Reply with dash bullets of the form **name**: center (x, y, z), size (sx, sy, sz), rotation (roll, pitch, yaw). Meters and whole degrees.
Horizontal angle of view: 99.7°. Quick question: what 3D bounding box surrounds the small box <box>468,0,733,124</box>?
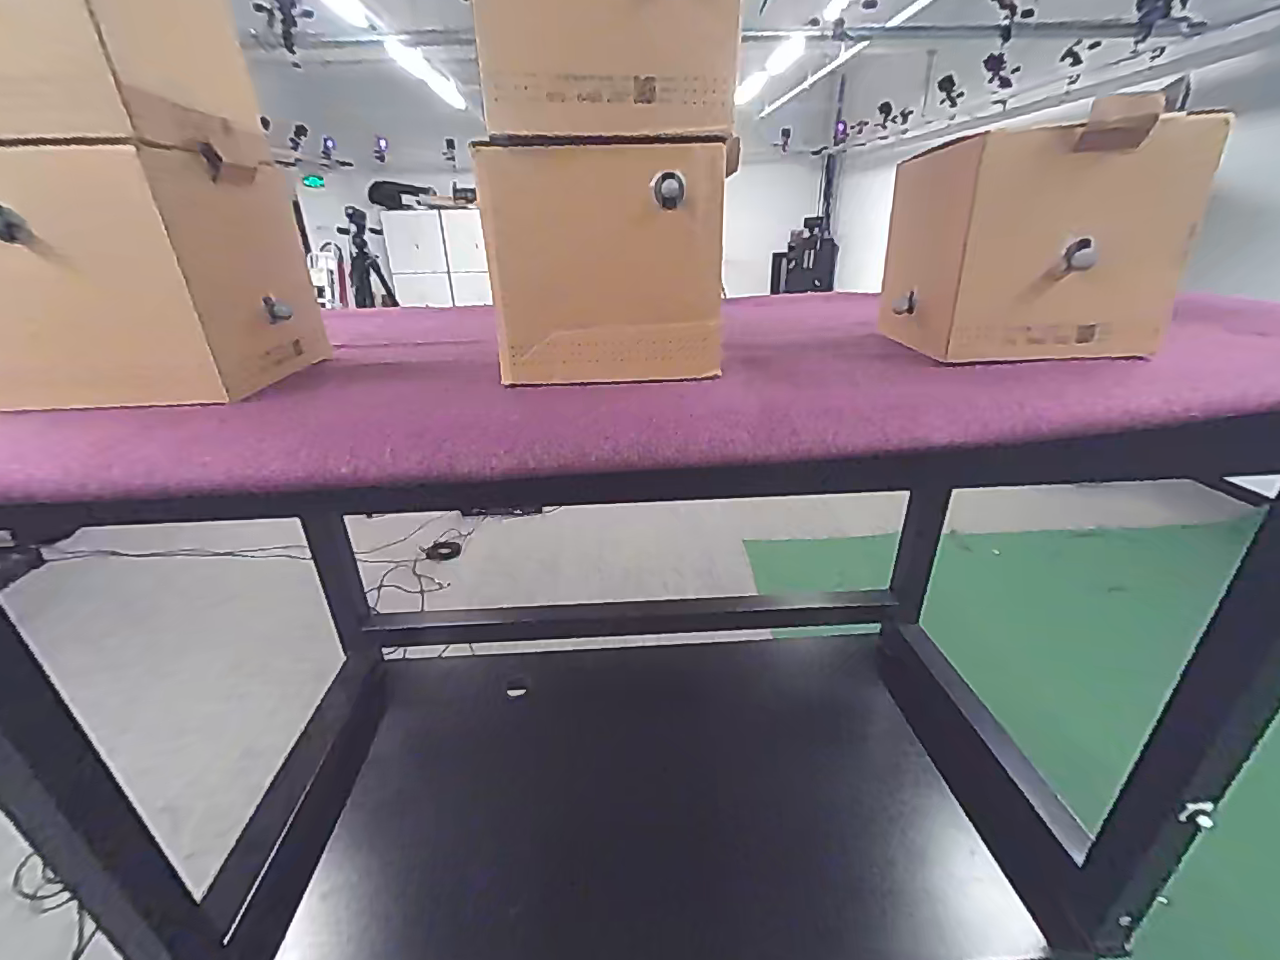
- **small box**: center (-0.029, -0.336, 0.390), size (0.168, 0.176, 0.179), rotation (-2, 23, -5)

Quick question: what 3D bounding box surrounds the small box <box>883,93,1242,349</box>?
- **small box**: center (0.330, -0.210, 0.471), size (0.168, 0.176, 0.179), rotation (-1, 24, 5)

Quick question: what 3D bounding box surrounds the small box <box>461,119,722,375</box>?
- **small box**: center (-0.031, -0.188, 0.456), size (0.179, 0.176, 0.168), rotation (-2, 24, -2)

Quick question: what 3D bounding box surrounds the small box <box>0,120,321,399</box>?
- **small box**: center (-0.392, -0.165, 0.422), size (0.179, 0.176, 0.168), rotation (-2, 27, -3)
